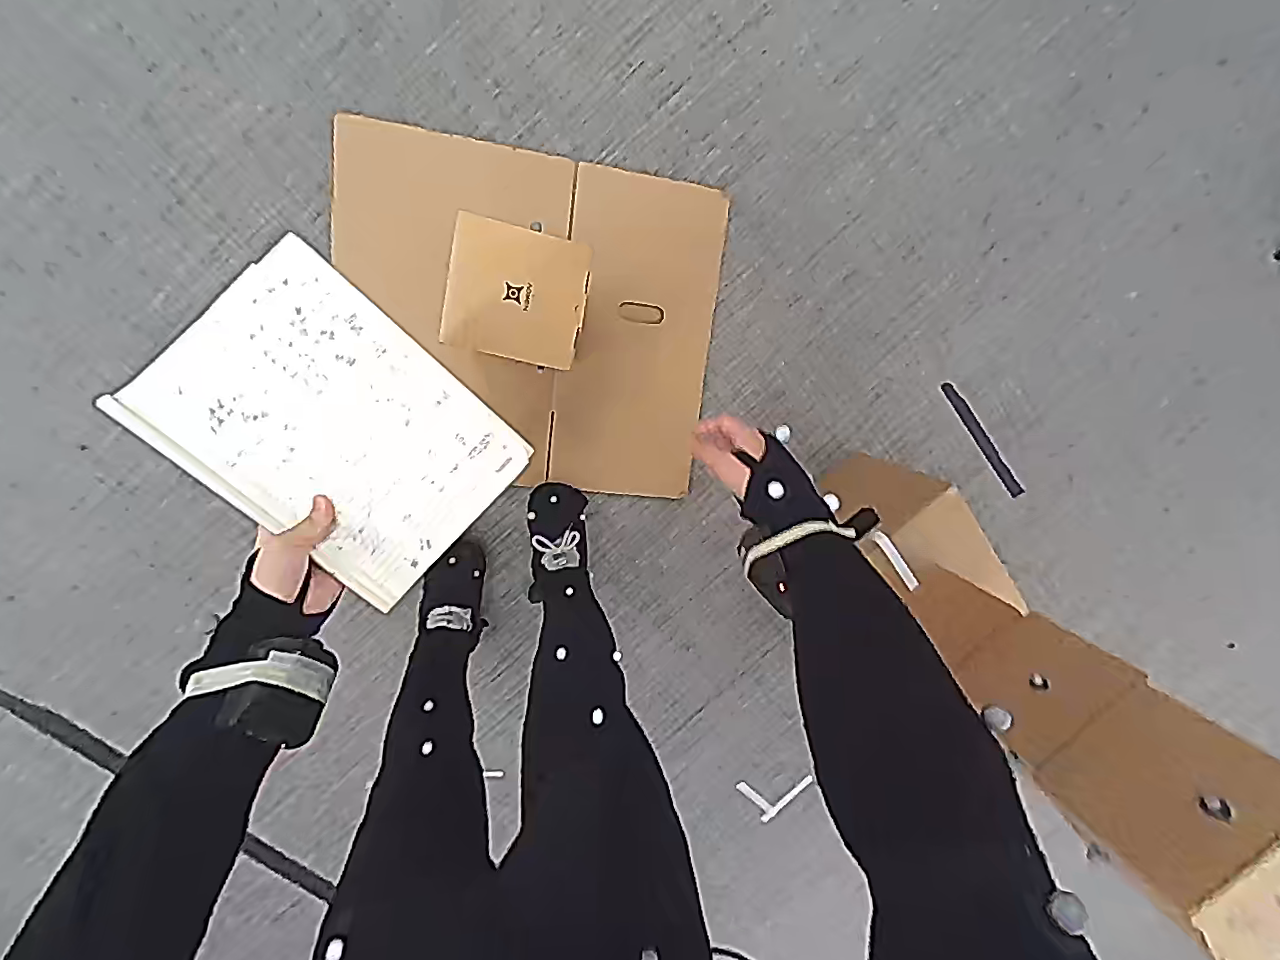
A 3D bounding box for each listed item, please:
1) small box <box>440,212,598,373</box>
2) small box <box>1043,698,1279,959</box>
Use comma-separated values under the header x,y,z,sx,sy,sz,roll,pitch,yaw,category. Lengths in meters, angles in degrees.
x,y,z,sx,sy,sz,roll,pitch,yaw,category
-0.170,-0.253,0.766,0.179,0.176,0.168,10,102,-15,small box
0.594,0.375,0.579,0.179,0.176,0.168,-42,107,2,small box
